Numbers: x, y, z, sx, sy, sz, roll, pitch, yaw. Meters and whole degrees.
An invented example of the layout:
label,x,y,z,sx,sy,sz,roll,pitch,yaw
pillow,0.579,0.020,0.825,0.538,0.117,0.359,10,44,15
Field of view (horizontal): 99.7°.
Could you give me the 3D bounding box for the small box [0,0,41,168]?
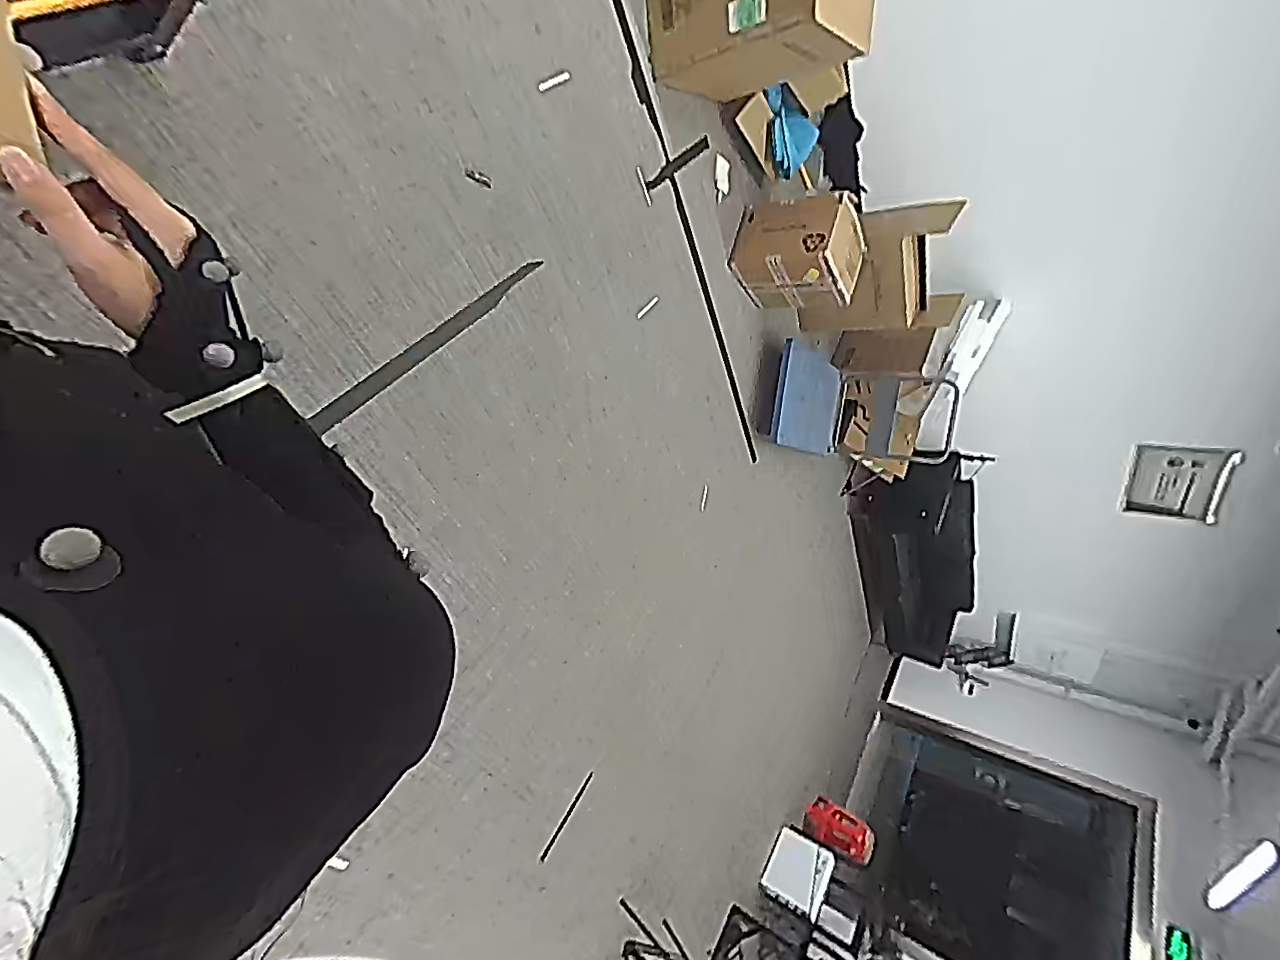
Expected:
label,x,y,z,sx,sy,sz,roll,pitch,yaw
small box,-0.408,-0.240,0.229,0.179,0.176,0.168,-17,121,-49
